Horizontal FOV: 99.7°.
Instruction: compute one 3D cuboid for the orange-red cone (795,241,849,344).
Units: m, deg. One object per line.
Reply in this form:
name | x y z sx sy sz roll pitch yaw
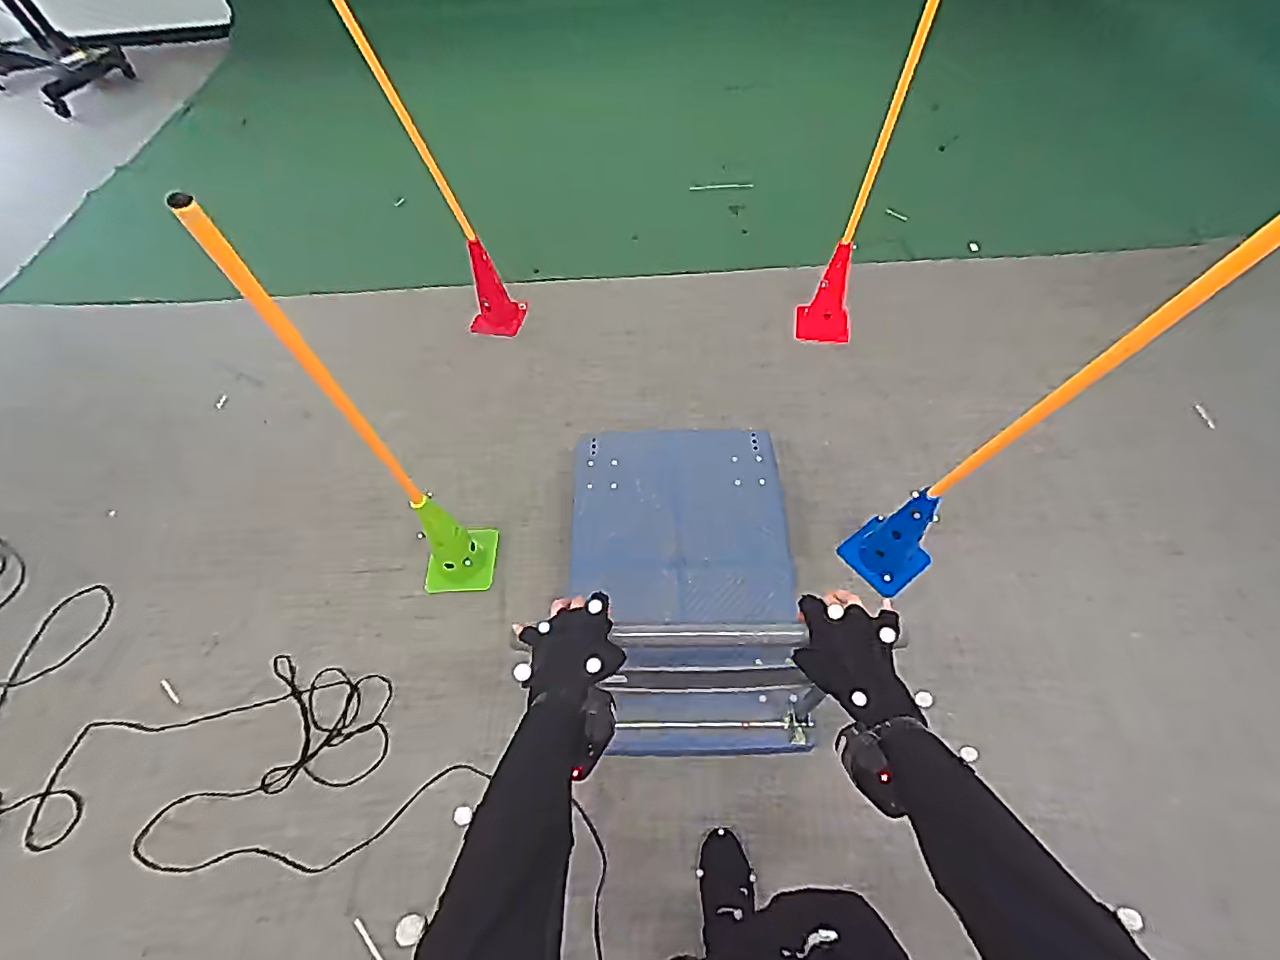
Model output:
orange-red cone | 0.697 -0.696 1.963 0.198 0.360 0.199 7 59 9
